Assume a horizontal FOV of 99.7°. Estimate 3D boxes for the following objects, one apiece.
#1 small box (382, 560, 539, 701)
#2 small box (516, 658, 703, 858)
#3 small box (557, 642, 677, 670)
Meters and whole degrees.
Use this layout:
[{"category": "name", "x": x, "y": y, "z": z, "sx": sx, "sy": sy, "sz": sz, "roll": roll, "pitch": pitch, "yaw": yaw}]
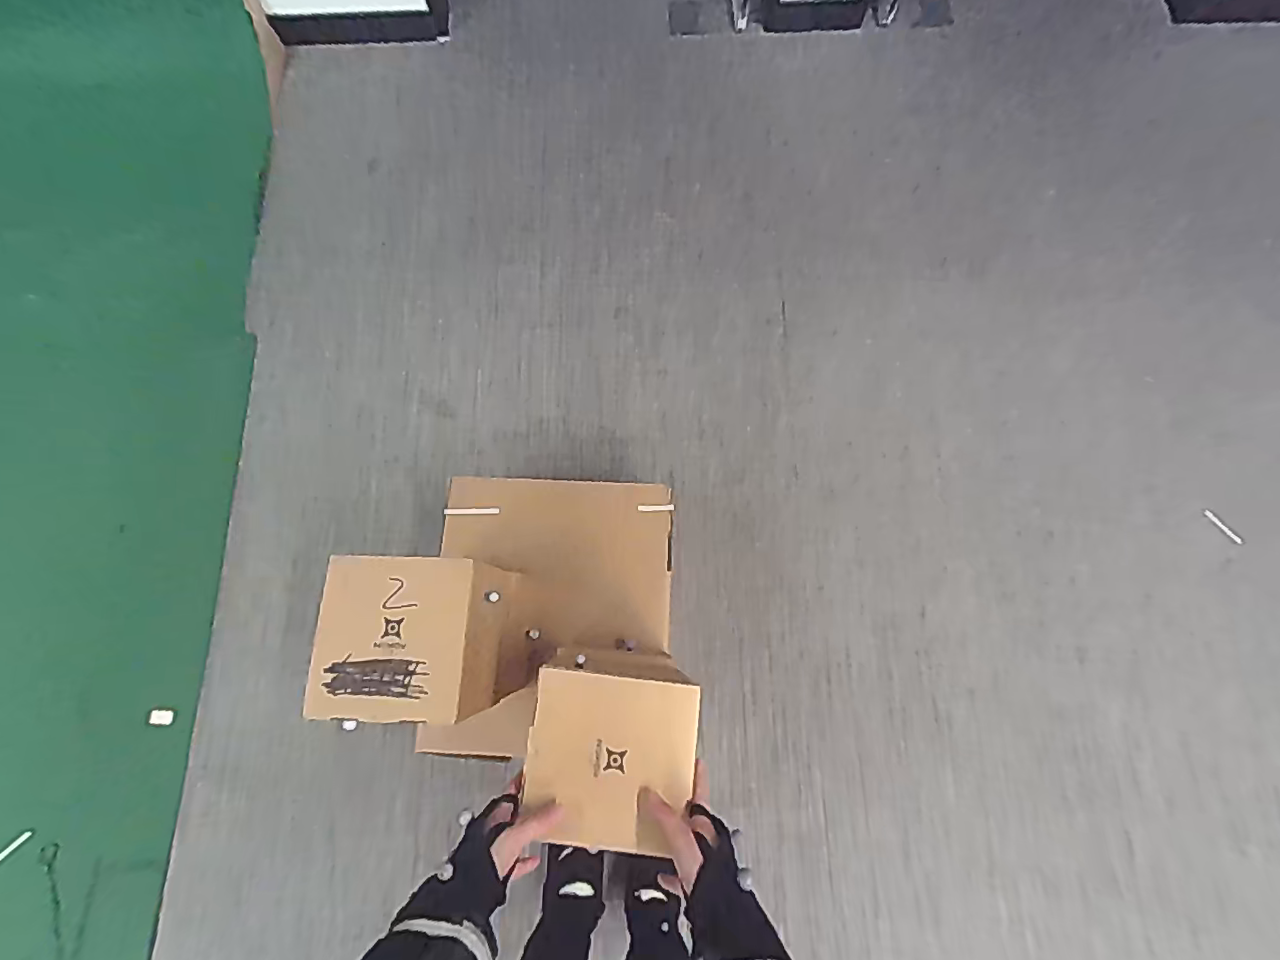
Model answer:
[{"category": "small box", "x": -0.257, "y": 0.227, "z": 0.822, "sx": 0.168, "sy": 0.176, "sz": 0.179, "roll": 5, "pitch": 74, "yaw": 3}, {"category": "small box", "x": -0.029, "y": 0.305, "z": 0.631, "sx": 0.179, "sy": 0.176, "sz": 0.168, "roll": 6, "pitch": 75, "yaw": 2}, {"category": "small box", "x": -0.039, "y": 0.338, "z": 0.791, "sx": 0.168, "sy": 0.176, "sz": 0.179, "roll": 6, "pitch": 74, "yaw": 1}]
